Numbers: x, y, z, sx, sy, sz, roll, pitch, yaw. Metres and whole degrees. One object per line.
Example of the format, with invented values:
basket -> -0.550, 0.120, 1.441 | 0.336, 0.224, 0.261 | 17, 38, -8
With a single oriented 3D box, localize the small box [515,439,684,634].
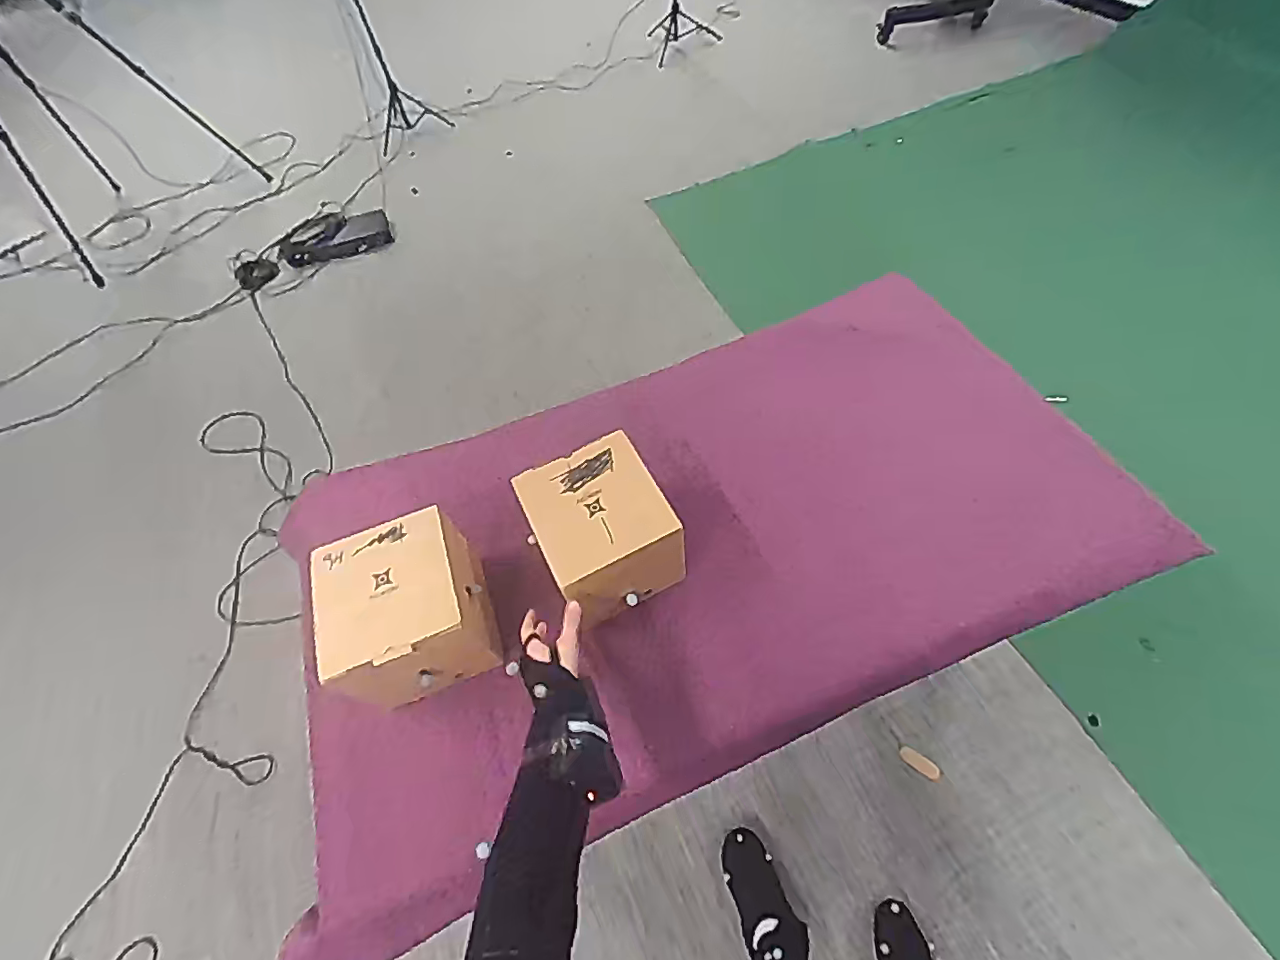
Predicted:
small box -> -0.050, 0.082, 0.747 | 0.168, 0.176, 0.179 | -26, 58, -10

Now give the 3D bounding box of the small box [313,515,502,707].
small box -> -0.297, 0.181, 0.711 | 0.168, 0.176, 0.179 | -21, 58, -7
